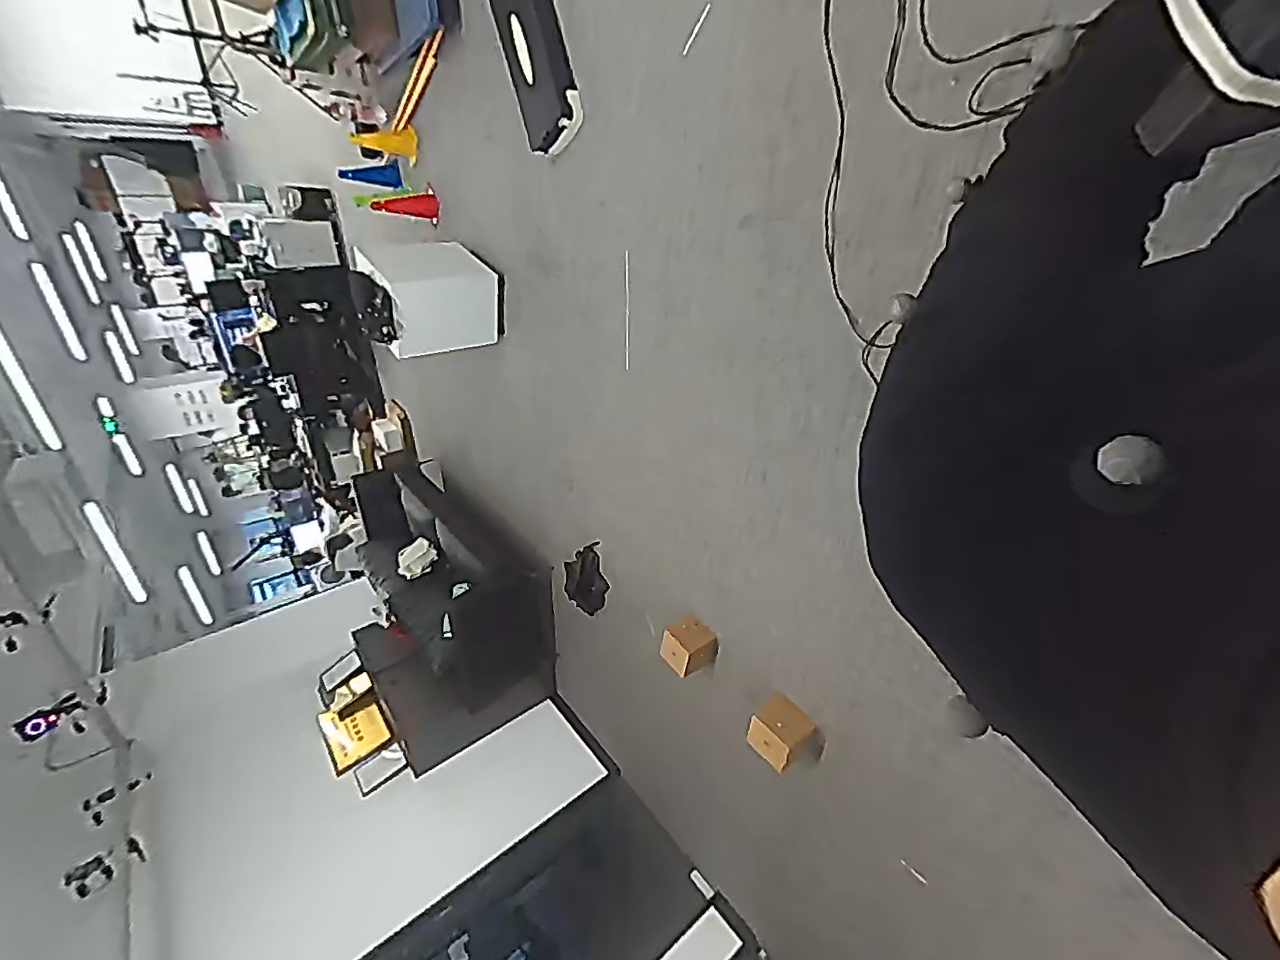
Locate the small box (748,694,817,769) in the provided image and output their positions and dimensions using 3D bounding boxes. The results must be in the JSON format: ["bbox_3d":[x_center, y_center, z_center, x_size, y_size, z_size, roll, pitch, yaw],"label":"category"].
[{"bbox_3d":[0.549,0.955,2.082,0.179,0.176,0.168,34,132,40],"label":"small box"}]

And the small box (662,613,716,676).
[{"bbox_3d":[0.220,0.729,2.420,0.168,0.176,0.179,39,136,39],"label":"small box"}]
